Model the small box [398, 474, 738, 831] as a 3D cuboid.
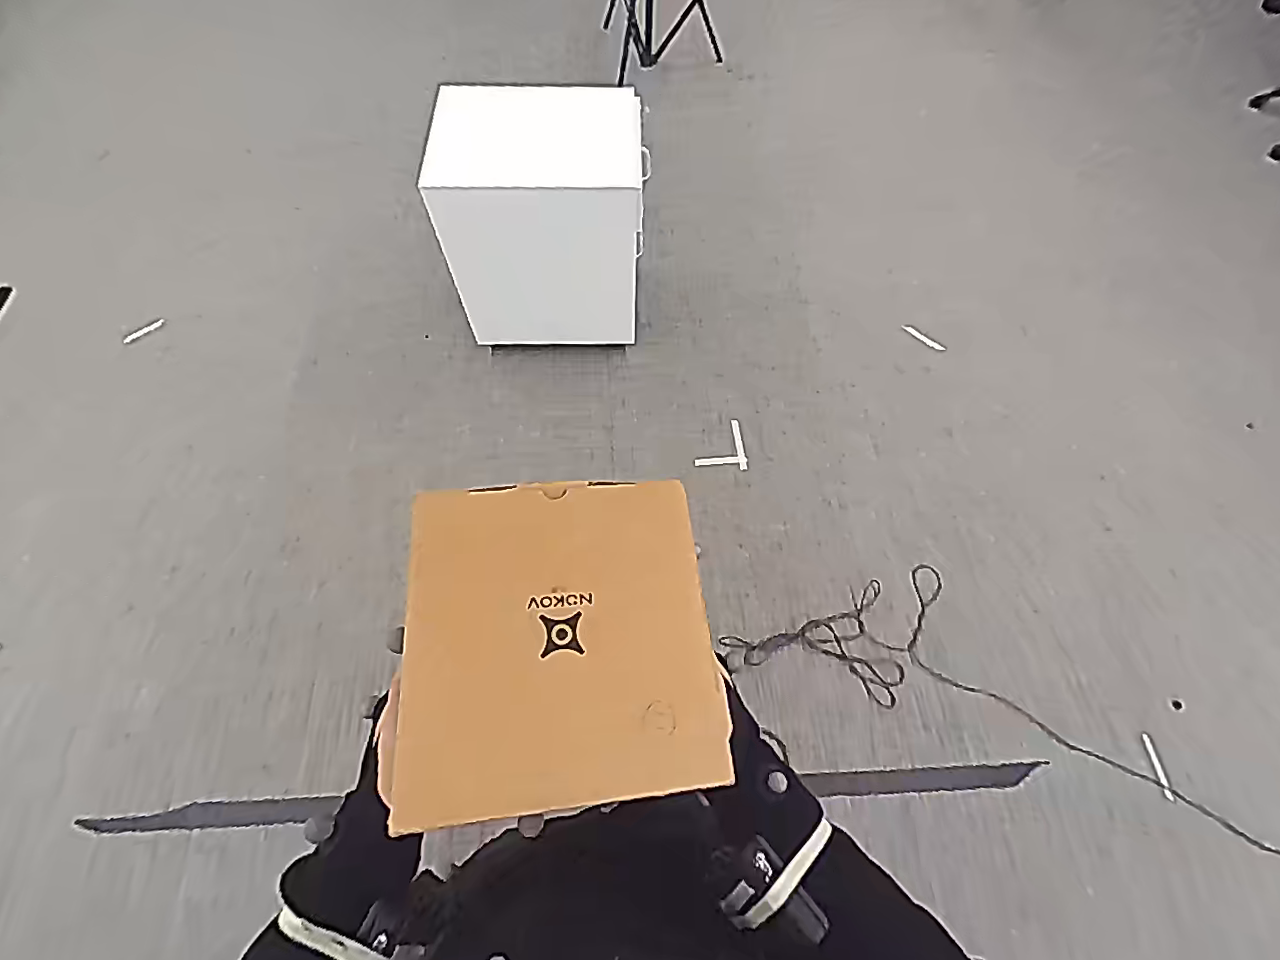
[{"bbox_3d":[-0.050,0.114,0.364,0.168,0.176,0.179,-3,62,-11],"label":"small box"}]
